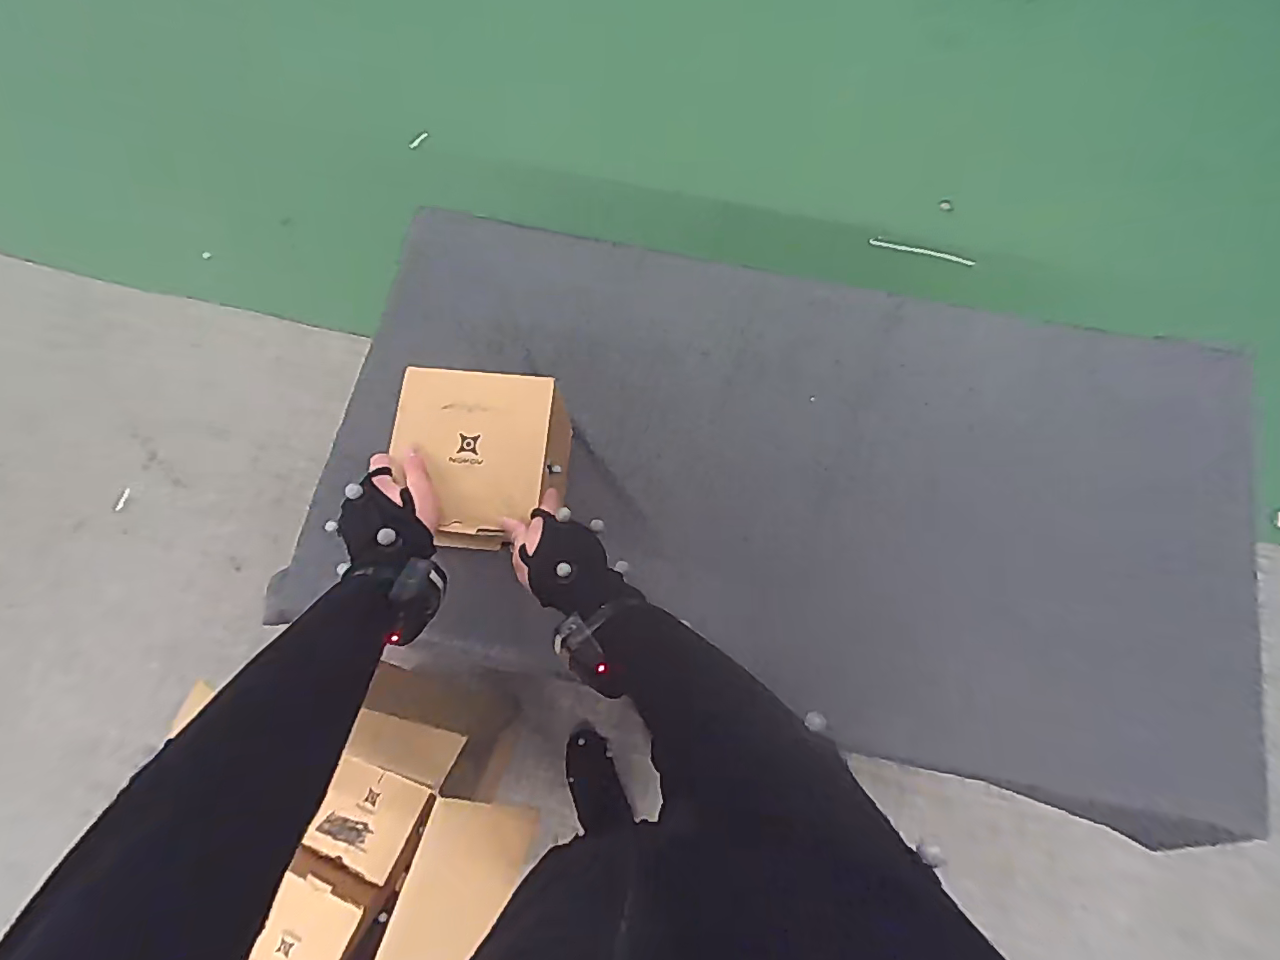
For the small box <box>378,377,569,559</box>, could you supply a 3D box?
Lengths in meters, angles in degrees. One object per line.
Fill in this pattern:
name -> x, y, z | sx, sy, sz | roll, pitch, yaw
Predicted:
small box -> -0.183, -0.003, 0.651 | 0.168, 0.176, 0.179 | 4, 74, 0
